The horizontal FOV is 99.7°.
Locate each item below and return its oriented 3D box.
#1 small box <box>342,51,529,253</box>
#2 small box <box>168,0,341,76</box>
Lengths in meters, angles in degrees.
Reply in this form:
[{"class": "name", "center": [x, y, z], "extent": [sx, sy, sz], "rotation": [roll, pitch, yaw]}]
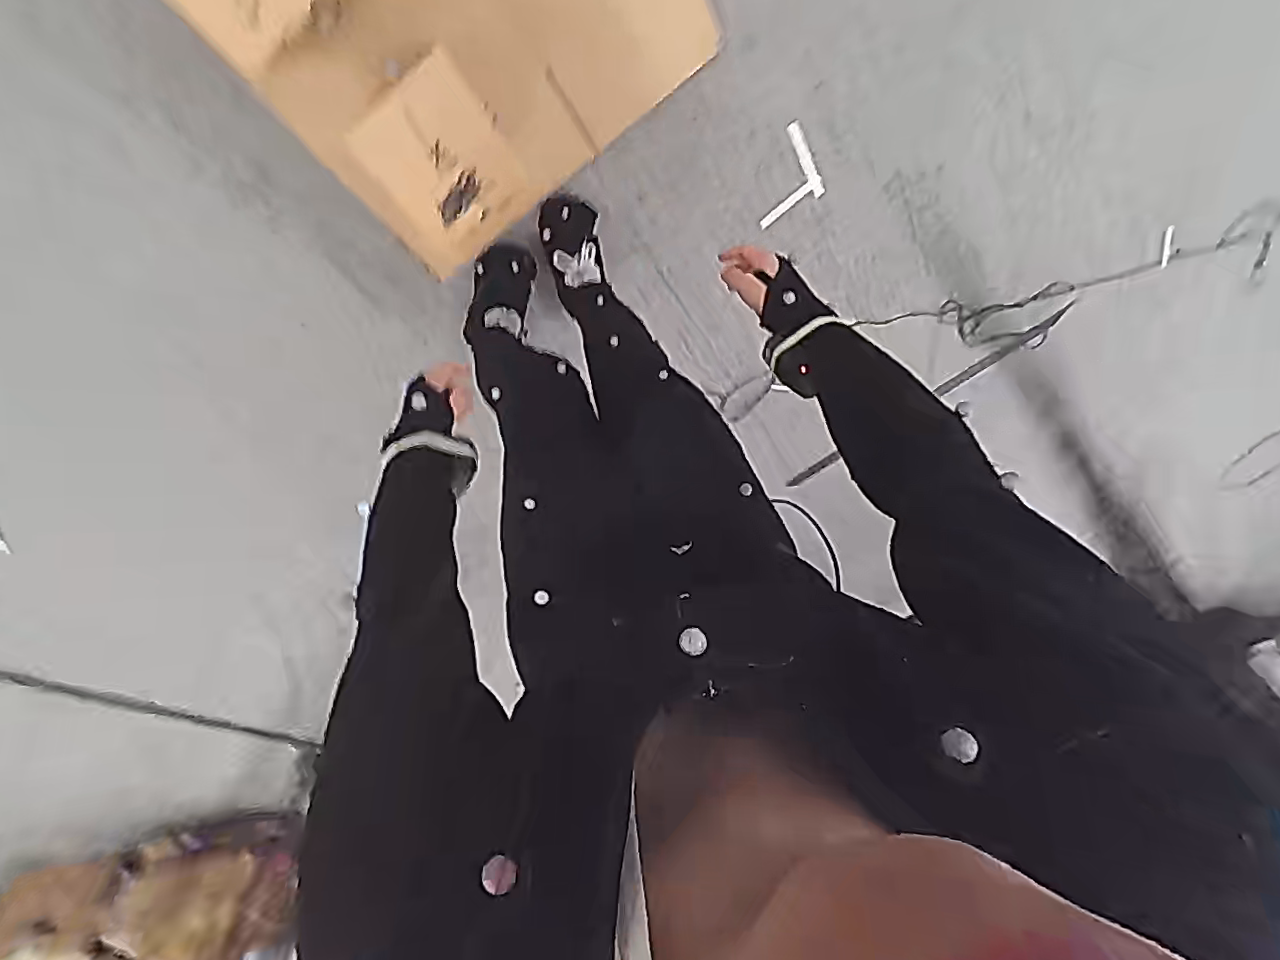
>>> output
[{"class": "small box", "center": [-0.283, -0.470, 0.772], "extent": [0.168, 0.176, 0.179], "rotation": [-34, 132, 11]}, {"class": "small box", "center": [-0.449, -0.596, 0.599], "extent": [0.168, 0.176, 0.179], "rotation": [-38, 131, 16]}]
